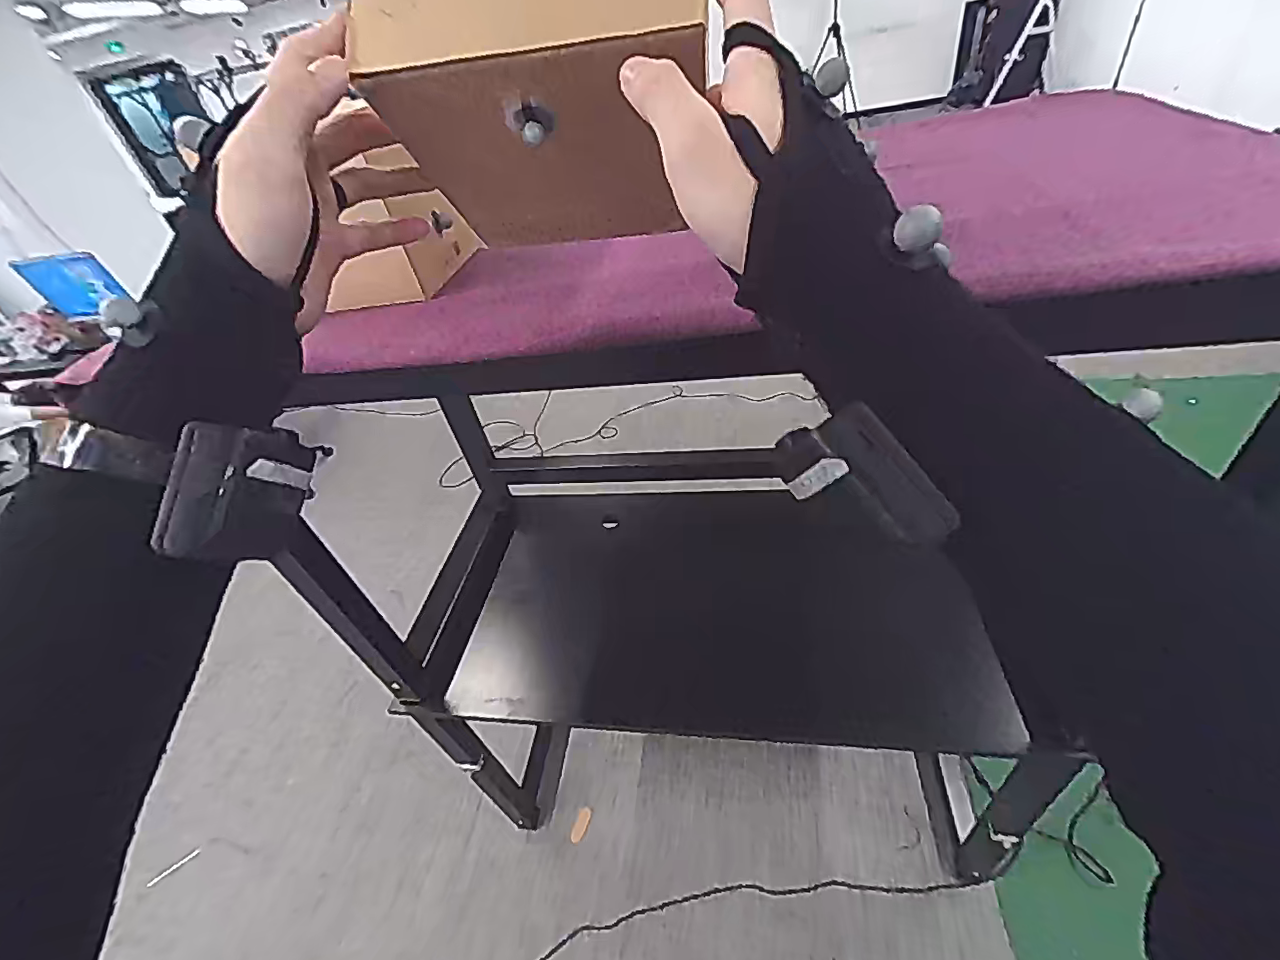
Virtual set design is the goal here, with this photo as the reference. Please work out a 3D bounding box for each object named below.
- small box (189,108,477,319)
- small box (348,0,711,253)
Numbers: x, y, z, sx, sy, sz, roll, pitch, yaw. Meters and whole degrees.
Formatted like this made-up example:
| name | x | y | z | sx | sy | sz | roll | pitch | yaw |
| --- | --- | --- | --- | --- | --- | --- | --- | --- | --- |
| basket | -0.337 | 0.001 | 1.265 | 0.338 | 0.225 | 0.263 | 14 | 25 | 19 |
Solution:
| name | x | y | z | sx | sy | sz | roll | pitch | yaw |
| --- | --- | --- | --- | --- | --- | --- | --- | --- | --- |
| small box | -0.308 | -0.288 | 0.588 | 0.179 | 0.176 | 0.168 | -3 | 42 | 11 |
| small box | -0.047 | -0.264 | 0.343 | 0.179 | 0.176 | 0.168 | -1 | 84 | 9 |
